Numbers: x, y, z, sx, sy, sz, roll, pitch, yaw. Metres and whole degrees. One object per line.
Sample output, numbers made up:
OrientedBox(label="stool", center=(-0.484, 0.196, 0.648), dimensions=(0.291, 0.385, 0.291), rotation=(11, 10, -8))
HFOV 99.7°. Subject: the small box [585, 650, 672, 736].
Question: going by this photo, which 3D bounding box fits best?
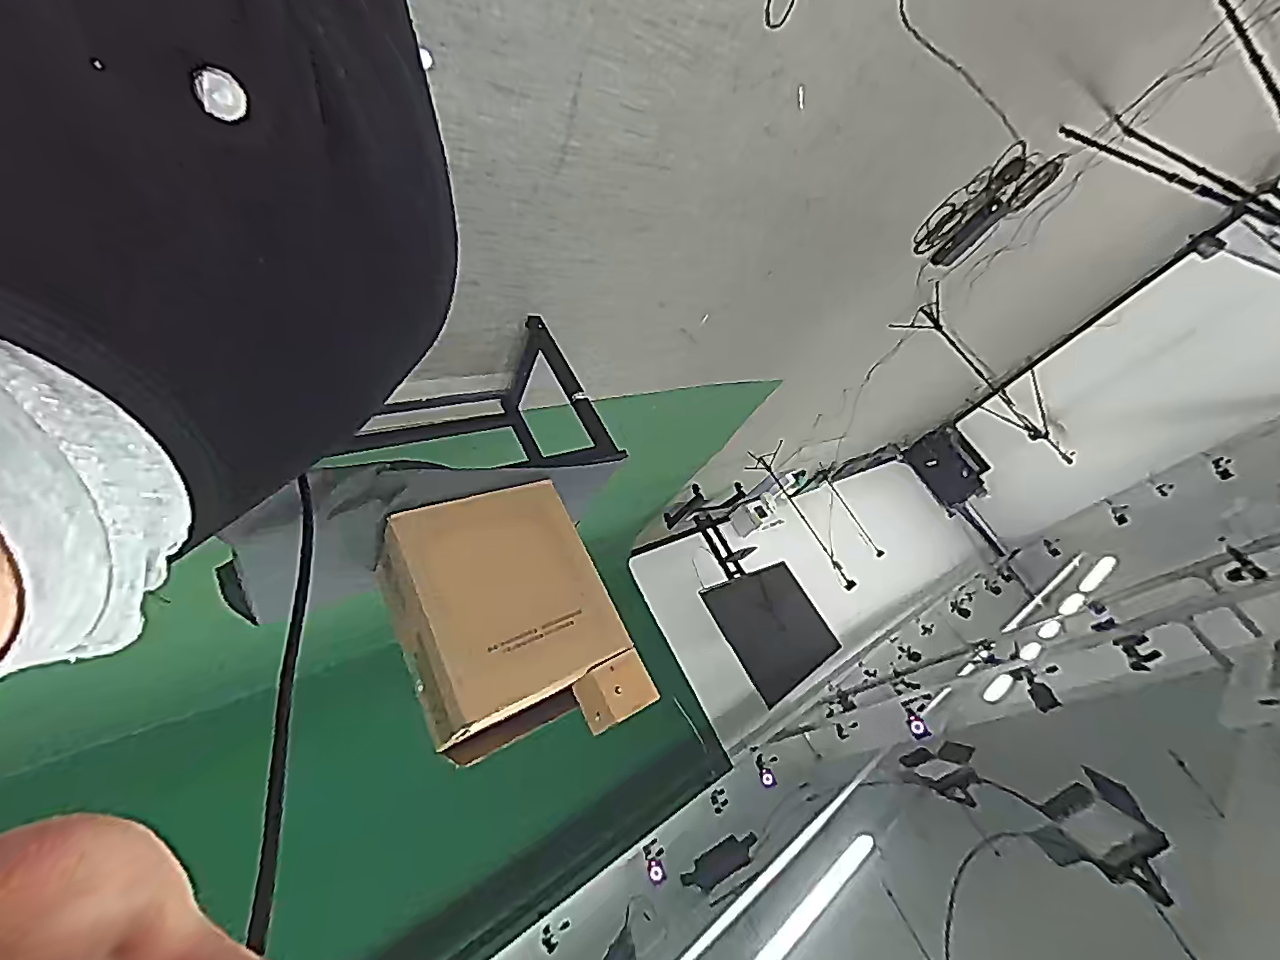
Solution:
OrientedBox(label="small box", center=(-0.042, 0.638, 1.636), dimensions=(0.168, 0.176, 0.179), rotation=(-15, 156, -39))
